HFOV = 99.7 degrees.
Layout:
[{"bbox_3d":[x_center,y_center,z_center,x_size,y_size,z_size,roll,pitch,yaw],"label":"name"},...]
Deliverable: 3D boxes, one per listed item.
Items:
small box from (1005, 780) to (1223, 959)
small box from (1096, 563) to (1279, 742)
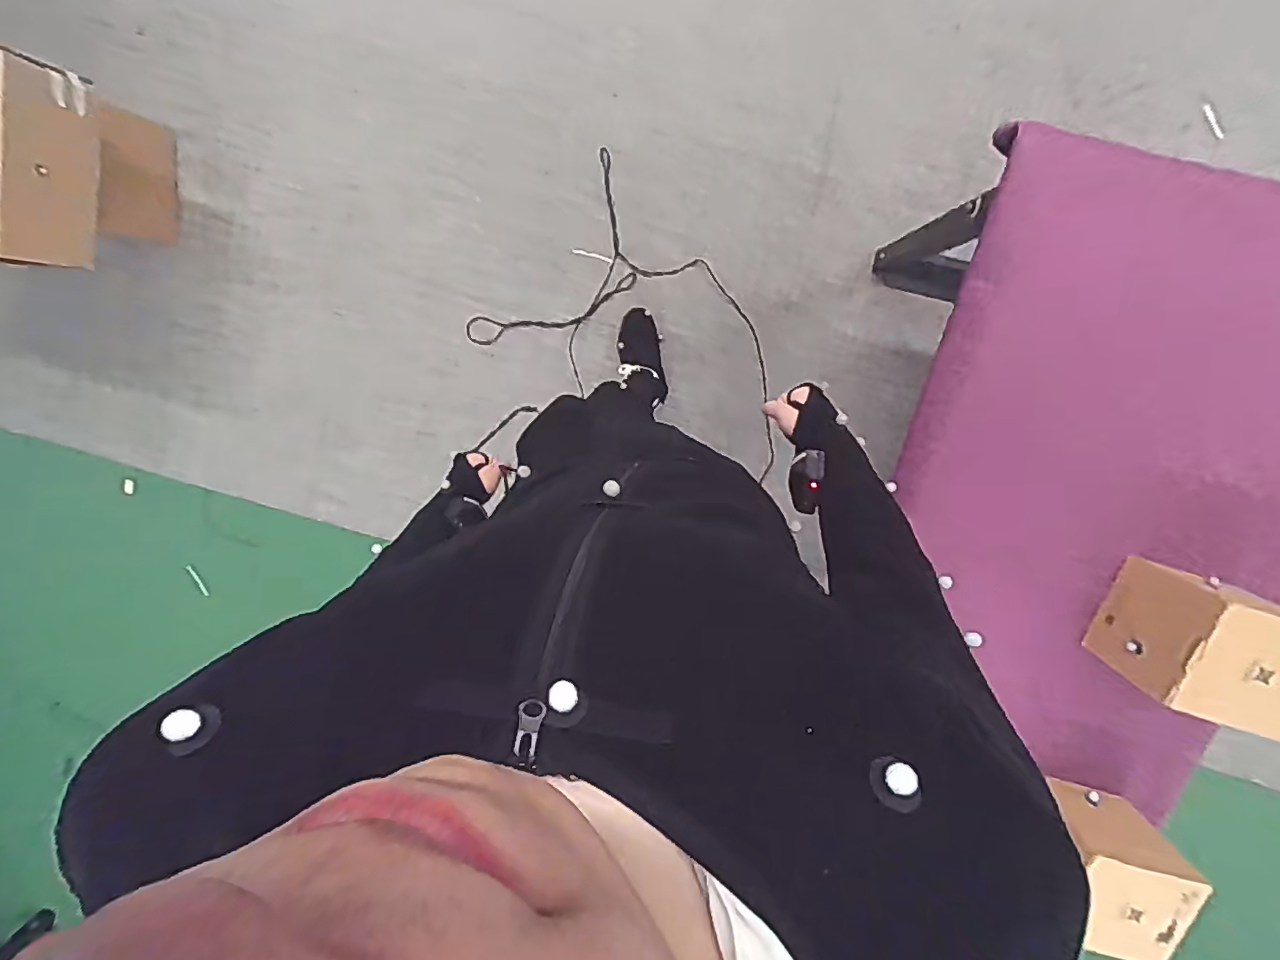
[{"bbox_3d":[0.740,0.624,0.872,0.179,0.176,0.168,15,104,3],"label":"small box"},{"bbox_3d":[0.824,0.236,0.777,0.179,0.176,0.168,17,105,1],"label":"small box"}]
